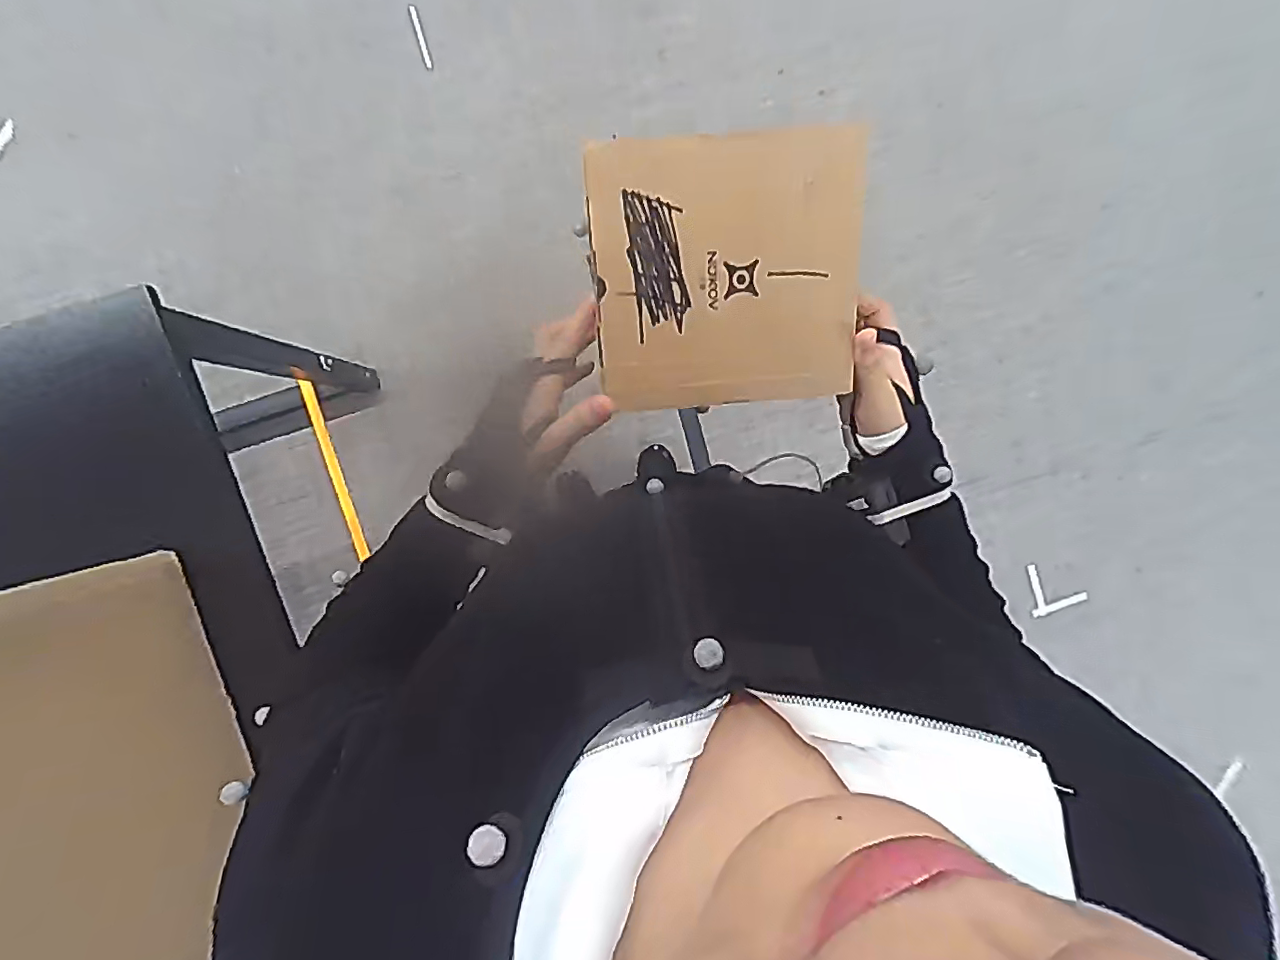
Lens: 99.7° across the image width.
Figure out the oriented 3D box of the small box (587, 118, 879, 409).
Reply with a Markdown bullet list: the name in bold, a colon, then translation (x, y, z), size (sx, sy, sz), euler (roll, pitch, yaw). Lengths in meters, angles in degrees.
- **small box**: translation (0.057, -0.155, 0.418), size (0.179, 0.176, 0.168), euler (-5, 109, -2)
